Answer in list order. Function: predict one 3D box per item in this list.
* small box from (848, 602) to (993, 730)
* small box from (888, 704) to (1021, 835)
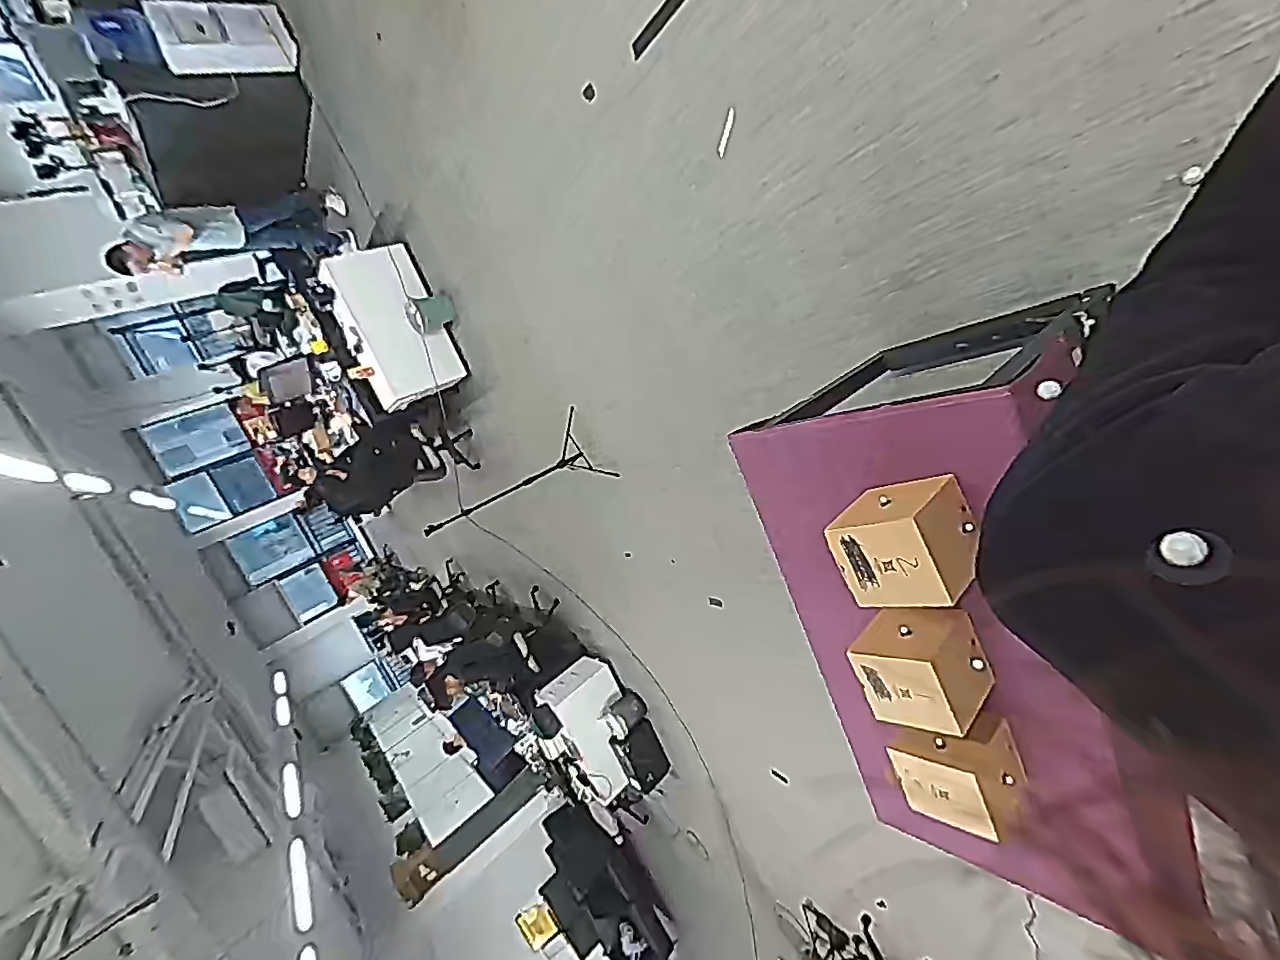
[{"bbox_3d":[0.560,0.358,1.080,0.179,0.176,0.168,-16,103,55],"label":"small box"},{"bbox_3d":[0.659,0.575,1.123,0.179,0.176,0.168,-9,108,55],"label":"small box"}]
